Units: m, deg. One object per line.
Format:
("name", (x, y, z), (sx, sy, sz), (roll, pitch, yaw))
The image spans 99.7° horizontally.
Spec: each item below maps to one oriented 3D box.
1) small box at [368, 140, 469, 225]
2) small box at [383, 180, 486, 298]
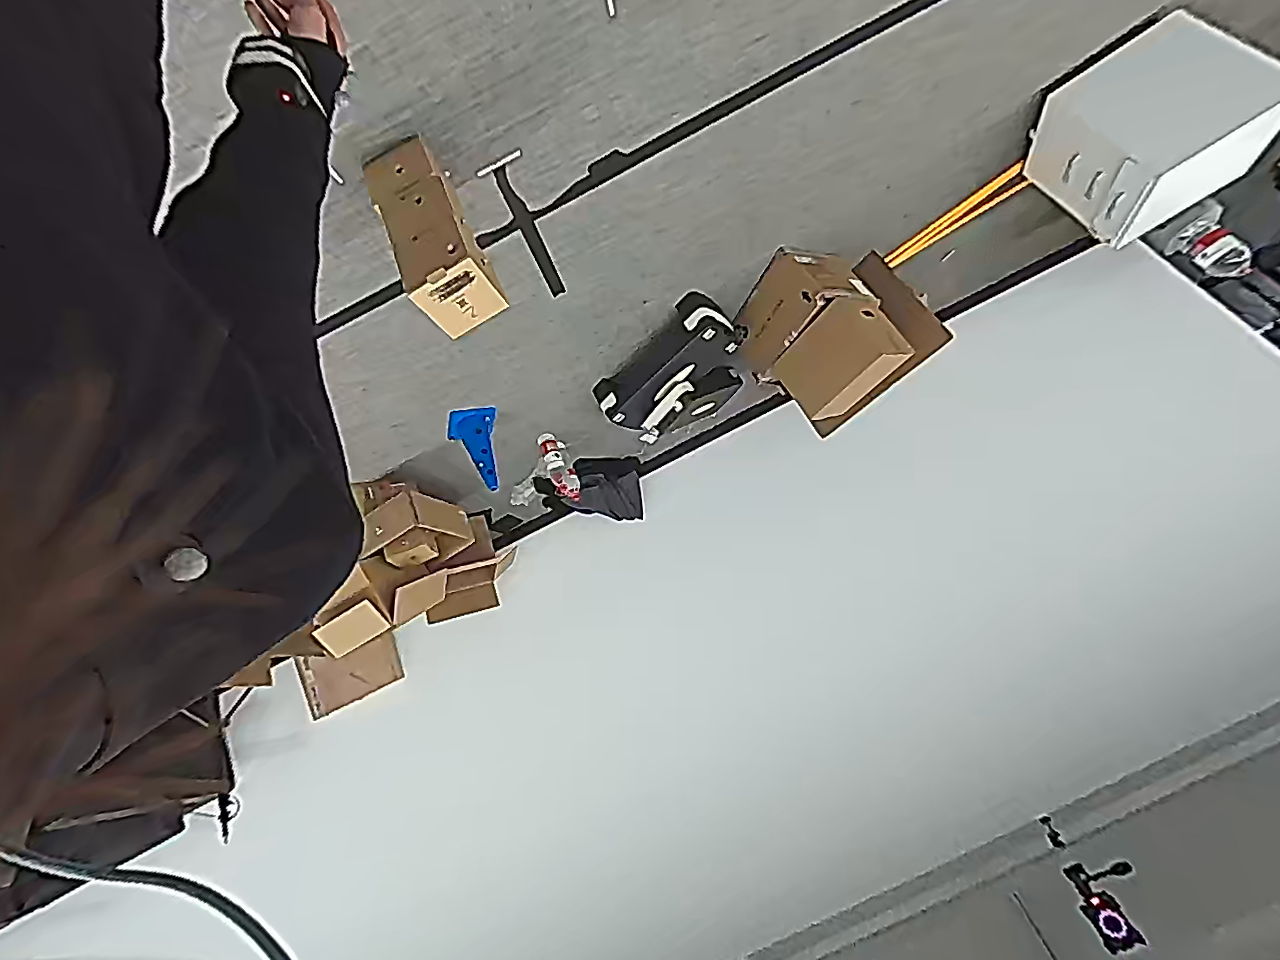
("small box", (-0.584, -0.740, 1.417), (0.179, 0.176, 0.168), (-28, 155, 3))
("small box", (-0.515, -0.605, 1.359), (0.168, 0.176, 0.179), (-25, 154, 0))
